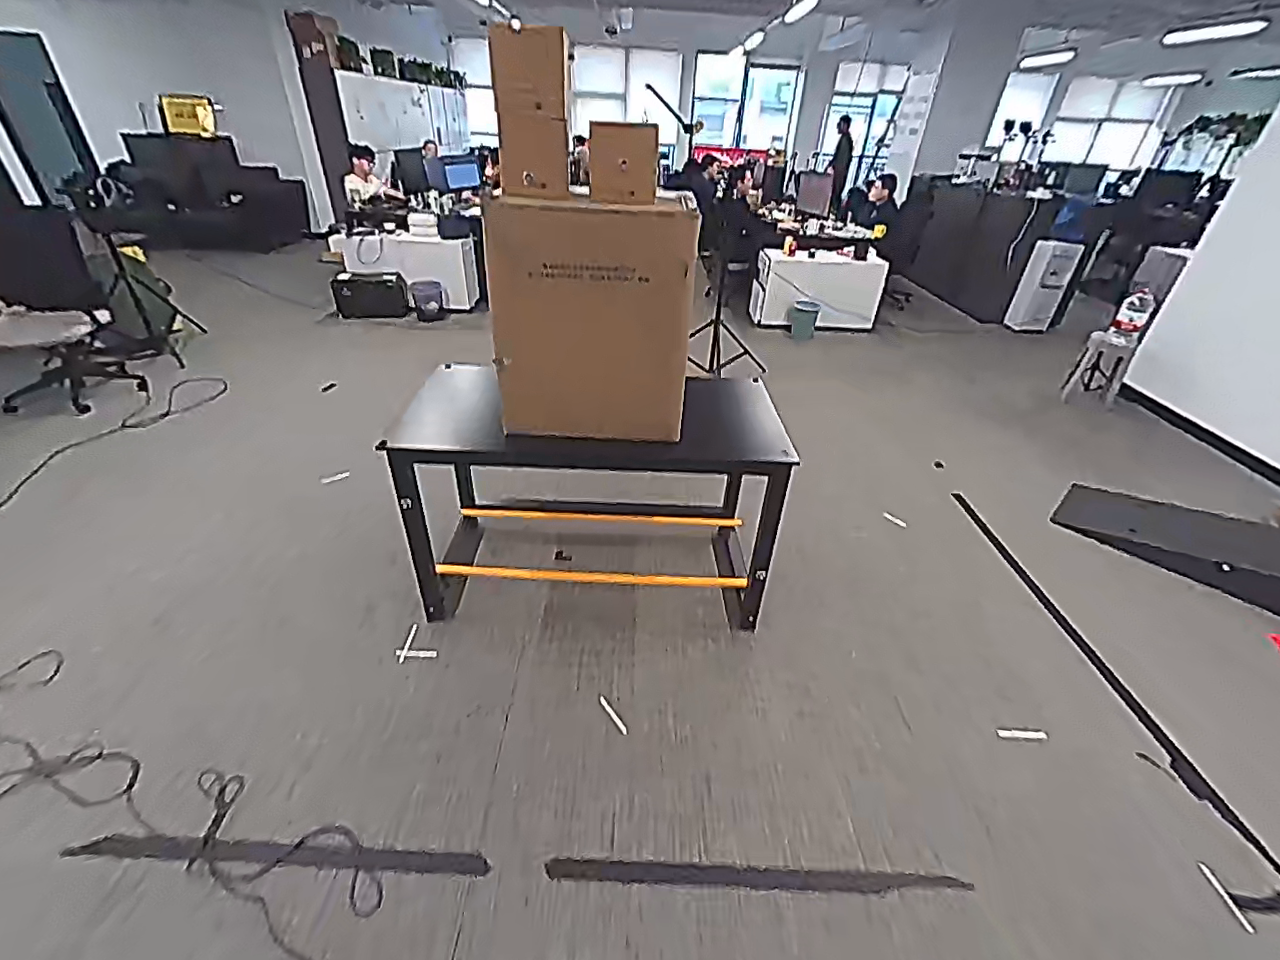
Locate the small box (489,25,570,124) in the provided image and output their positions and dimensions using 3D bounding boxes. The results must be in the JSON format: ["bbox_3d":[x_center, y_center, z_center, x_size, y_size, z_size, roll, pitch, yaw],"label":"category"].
[{"bbox_3d":[-0.254,-0.949,1.279,0.168,0.176,0.179,1,34,-4],"label":"small box"}]

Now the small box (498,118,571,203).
[{"bbox_3d":[-0.261,-0.813,1.372,0.168,0.176,0.179,-1,35,-6],"label":"small box"}]

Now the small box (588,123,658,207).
[{"bbox_3d":[-0.045,-0.788,1.351,0.168,0.176,0.179,-1,35,-5],"label":"small box"}]
